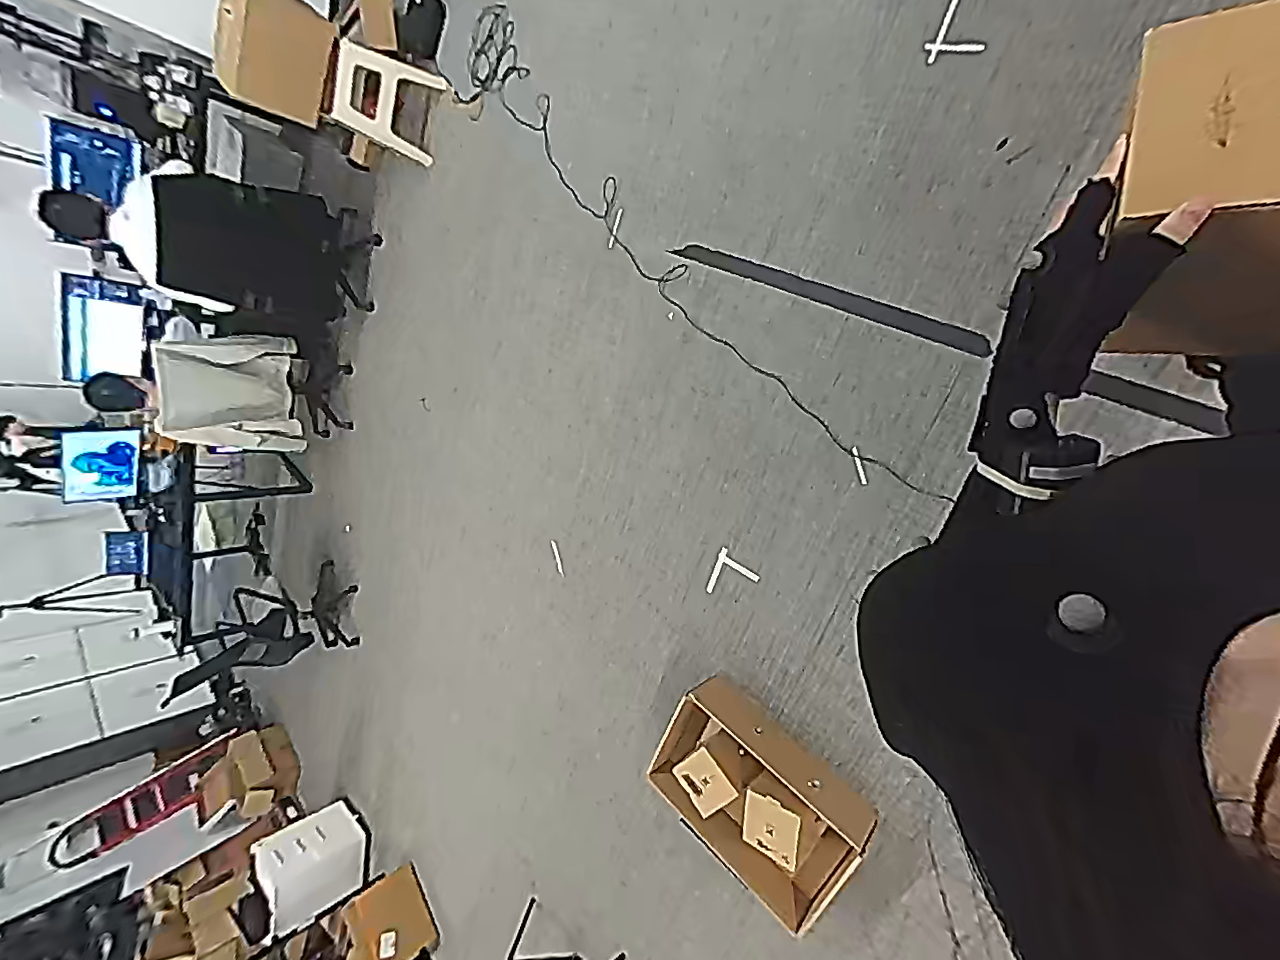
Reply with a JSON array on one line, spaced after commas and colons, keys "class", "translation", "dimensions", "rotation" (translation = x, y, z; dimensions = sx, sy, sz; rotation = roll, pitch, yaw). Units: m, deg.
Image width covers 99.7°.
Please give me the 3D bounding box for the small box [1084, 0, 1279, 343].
[{"class": "small box", "translation": [0.436, -0.207, 0.369], "dimensions": [0.179, 0.176, 0.168], "rotation": [9, 74, 34]}]
